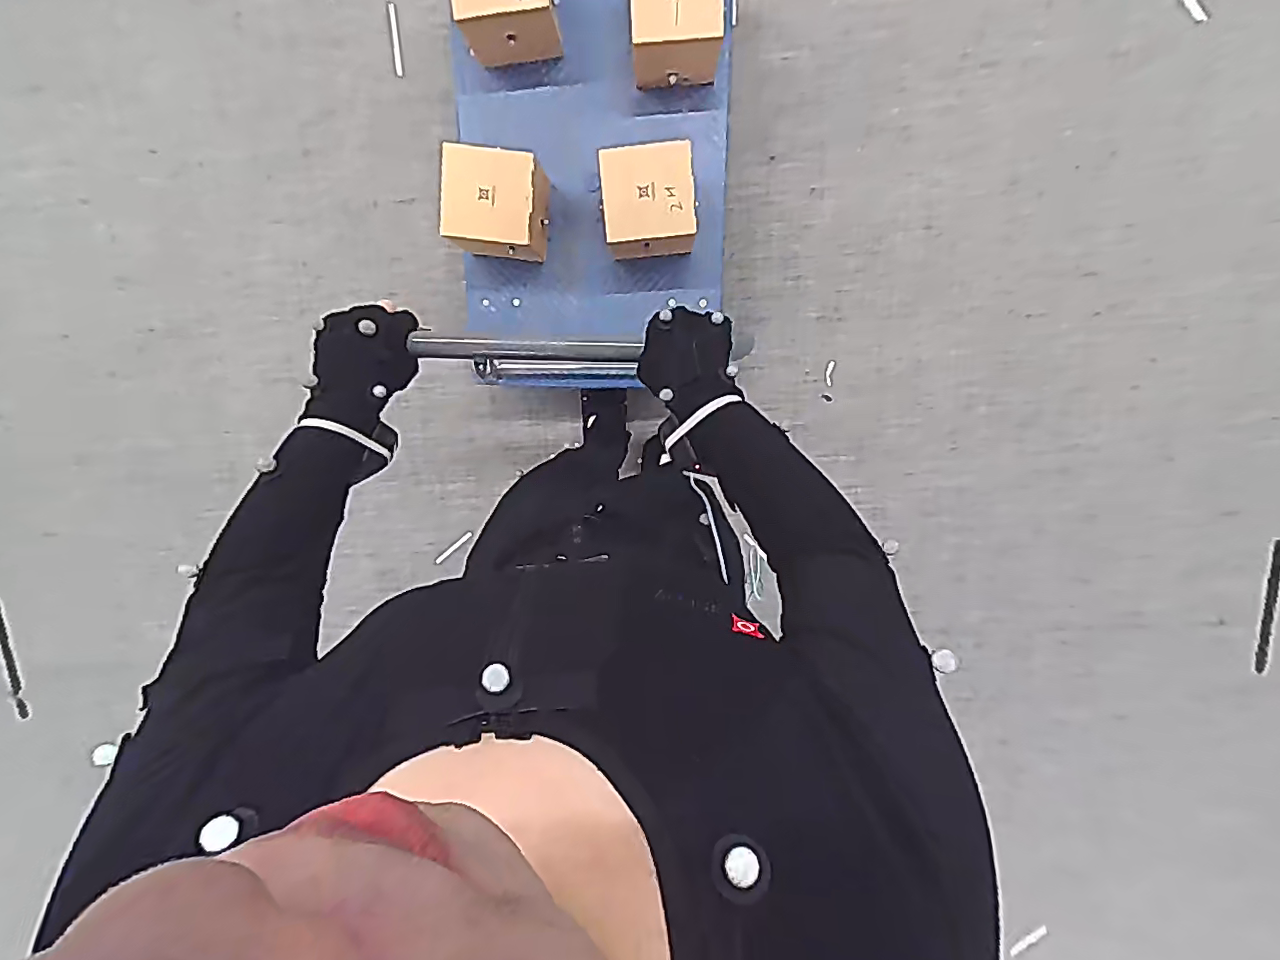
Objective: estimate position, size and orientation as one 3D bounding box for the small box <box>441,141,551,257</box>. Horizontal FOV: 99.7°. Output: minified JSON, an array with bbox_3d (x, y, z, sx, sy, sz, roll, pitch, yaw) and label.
[{"bbox_3d":[-0.289,-0.565,1.109,0.179,0.176,0.168,6,102,-1],"label":"small box"}]

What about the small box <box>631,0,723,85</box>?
[{"bbox_3d":[0.066,-0.890,1.025,0.168,0.176,0.179,-2,103,2],"label":"small box"}]

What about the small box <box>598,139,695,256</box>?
[{"bbox_3d":[0.017,-0.563,1.098,0.179,0.176,0.168,-4,102,3],"label":"small box"}]
